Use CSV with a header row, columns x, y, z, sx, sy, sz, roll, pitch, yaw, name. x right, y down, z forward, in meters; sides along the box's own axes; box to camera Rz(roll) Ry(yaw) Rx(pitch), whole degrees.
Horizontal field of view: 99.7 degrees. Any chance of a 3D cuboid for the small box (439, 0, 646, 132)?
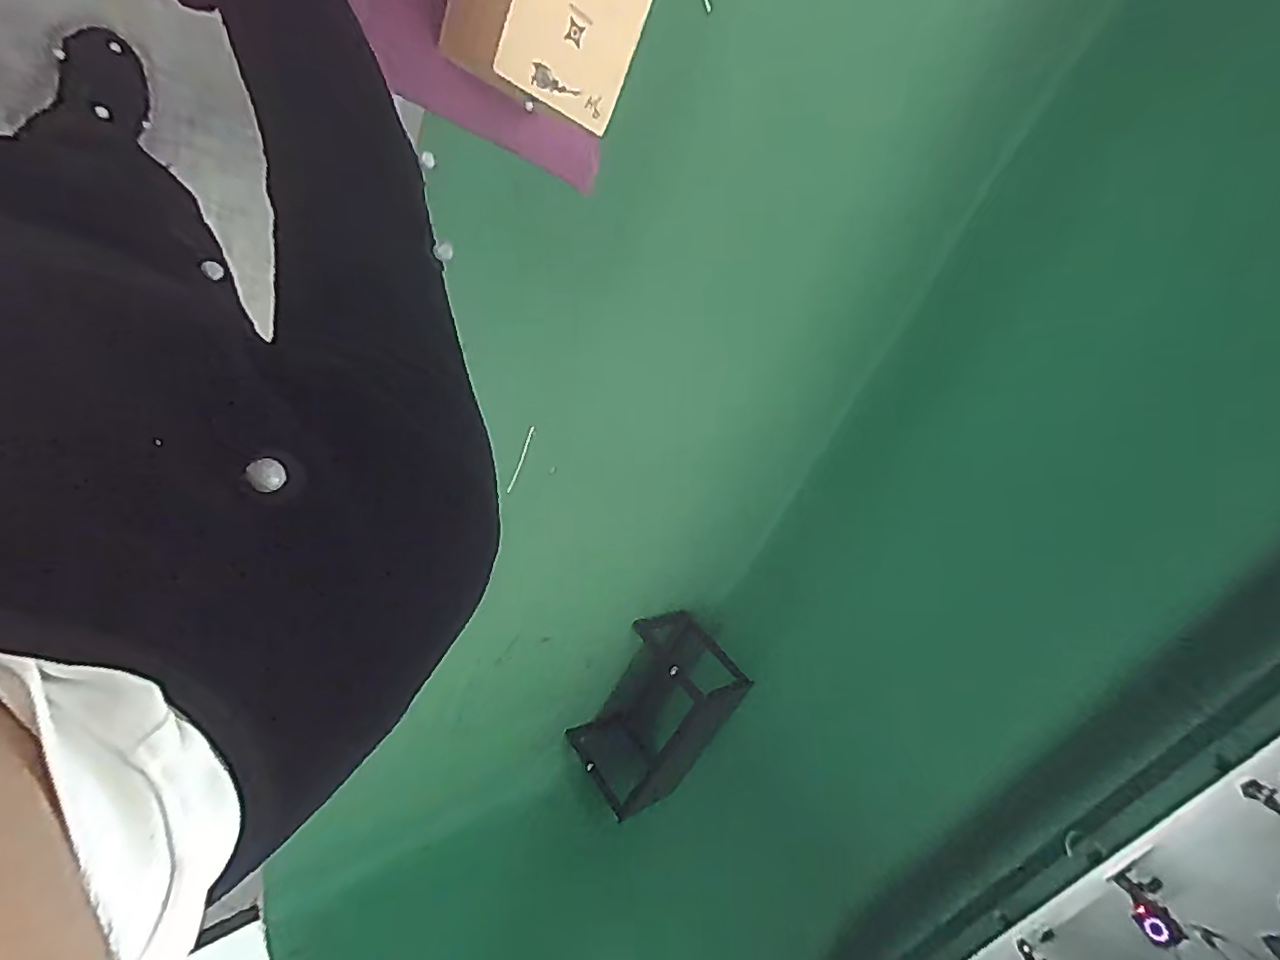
x,y,z,sx,sy,sz,roll,pitch,yaw,name
-0.122,-0.568,0.655,0.168,0.176,0.179,1,125,-45,small box
